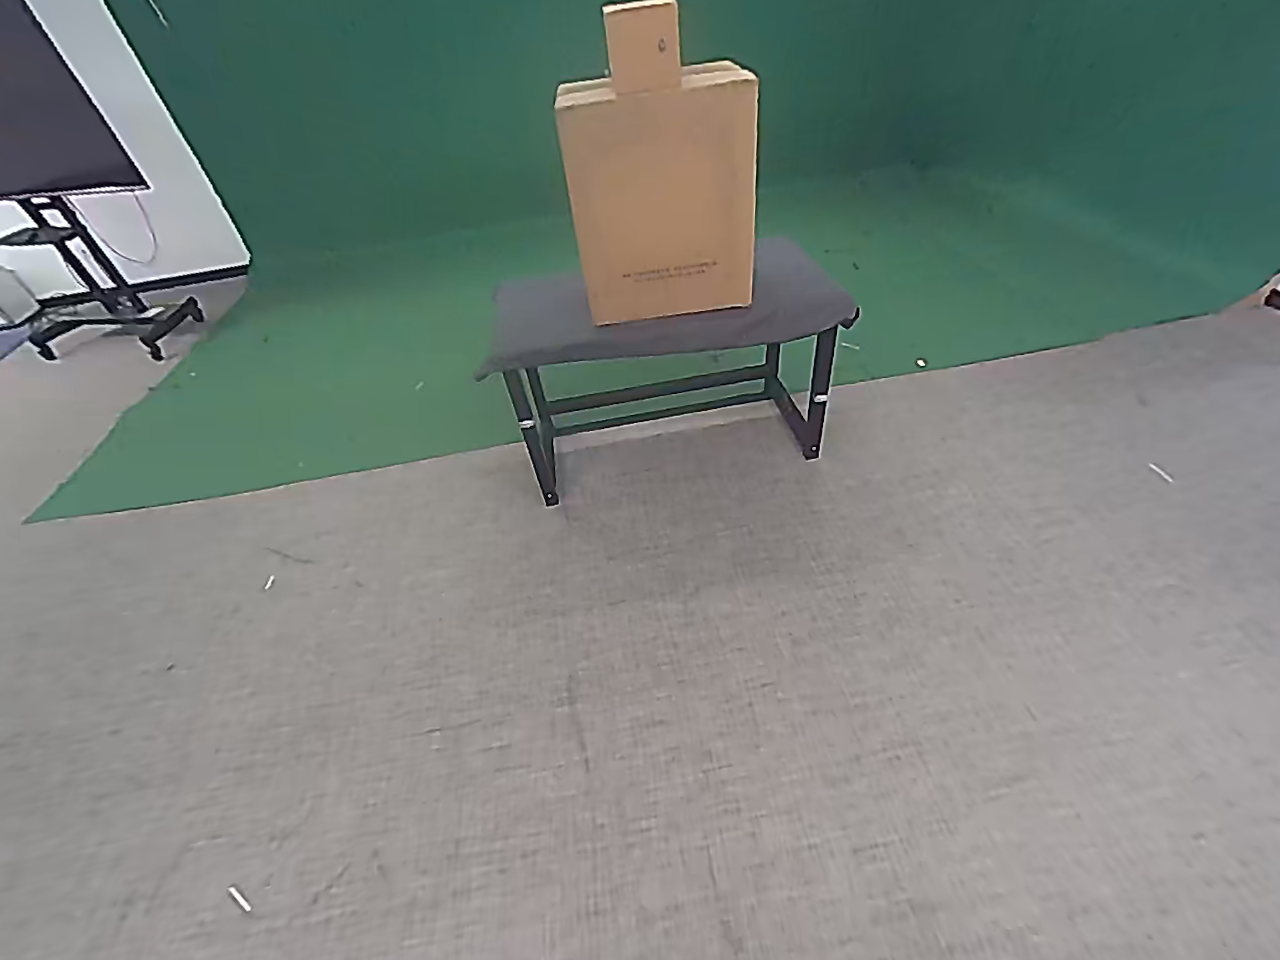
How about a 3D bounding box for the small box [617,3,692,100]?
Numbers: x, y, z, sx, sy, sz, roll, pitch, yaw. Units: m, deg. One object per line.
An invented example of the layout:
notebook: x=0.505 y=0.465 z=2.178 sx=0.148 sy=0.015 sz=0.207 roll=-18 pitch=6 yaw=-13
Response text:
small box: x=0.039 y=-1.123 z=1.418 sx=0.179 sy=0.176 sz=0.168 roll=-9 pitch=44 yaw=1
